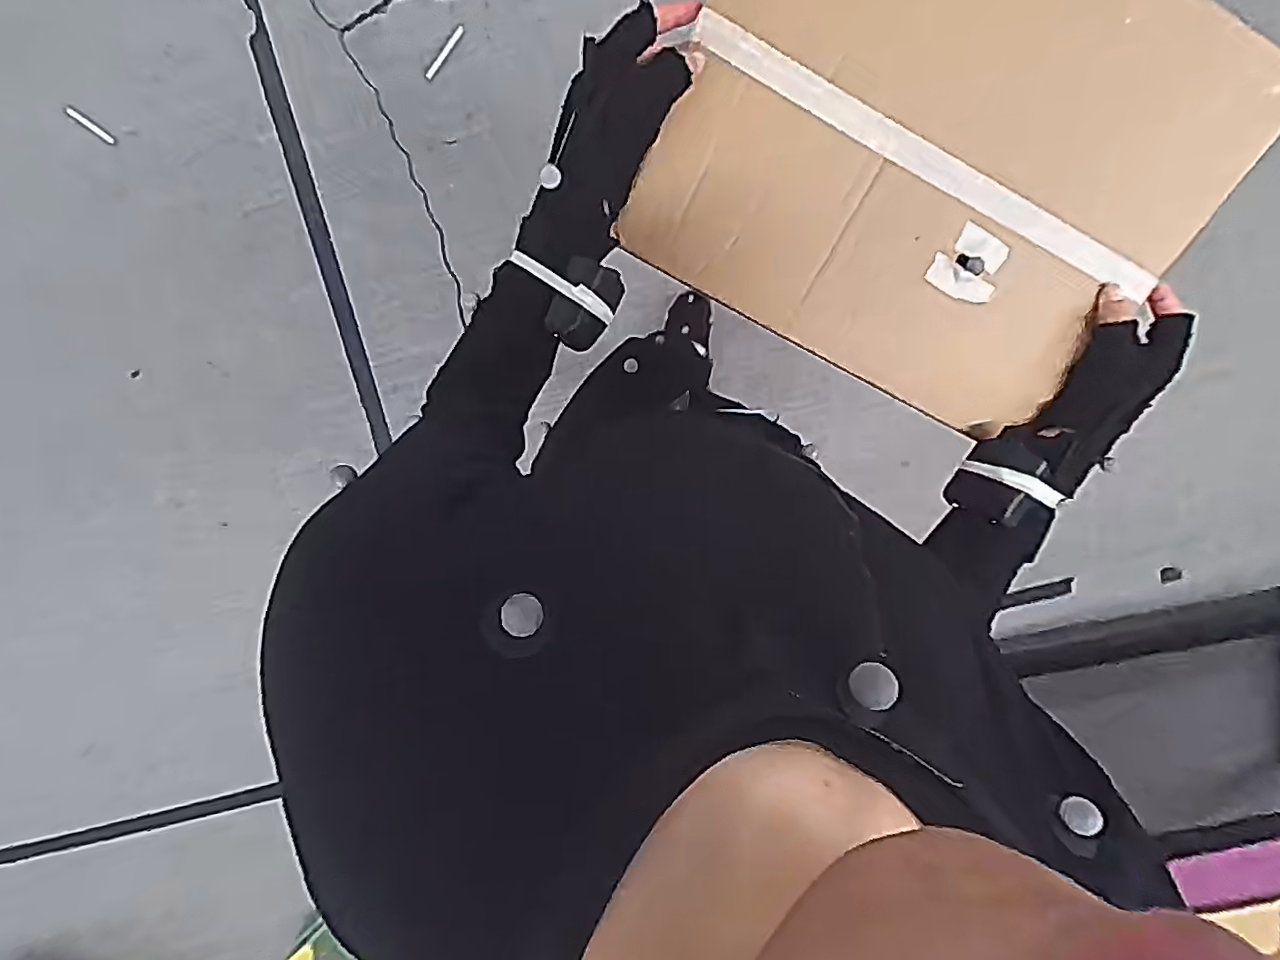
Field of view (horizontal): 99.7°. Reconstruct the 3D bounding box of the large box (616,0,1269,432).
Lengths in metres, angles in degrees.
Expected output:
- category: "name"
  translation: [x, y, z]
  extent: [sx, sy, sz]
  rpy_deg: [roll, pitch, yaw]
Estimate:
- category: "large box"
  translation: [0.226, -0.306, 0.563]
  extent: [0.408, 0.320, 0.320]
  rpy_deg: [26, 113, -8]
